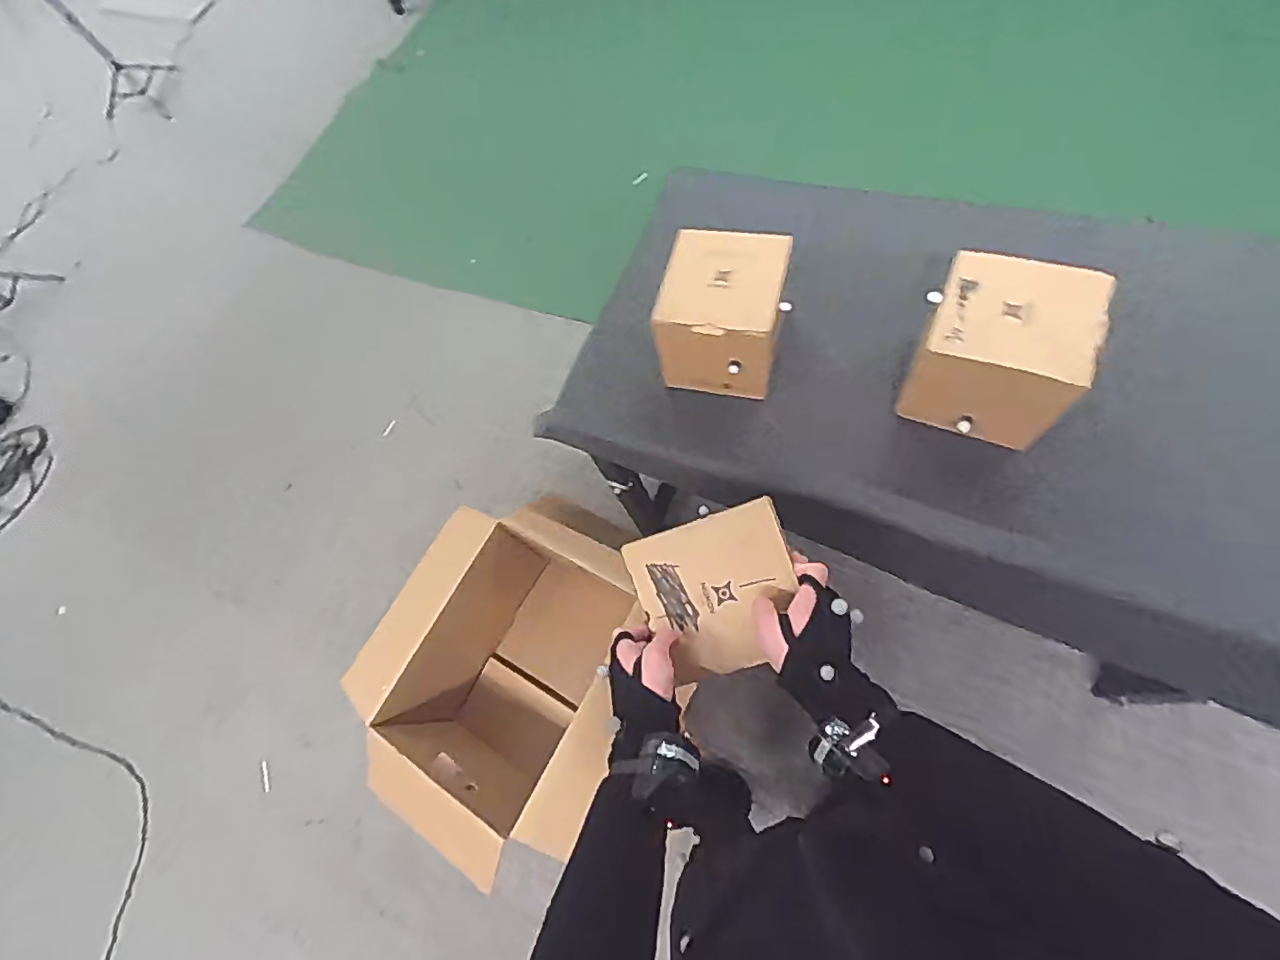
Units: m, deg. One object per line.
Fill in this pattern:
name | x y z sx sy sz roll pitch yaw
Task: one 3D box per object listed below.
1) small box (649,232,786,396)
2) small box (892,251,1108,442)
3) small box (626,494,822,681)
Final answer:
small box | 0.125 -0.250 0.837 0.168 0.176 0.179 11 68 14
small box | 0.469 -0.170 0.729 0.179 0.176 0.168 21 73 18
small box | 0.106 0.123 0.660 0.179 0.176 0.168 -20 83 12
